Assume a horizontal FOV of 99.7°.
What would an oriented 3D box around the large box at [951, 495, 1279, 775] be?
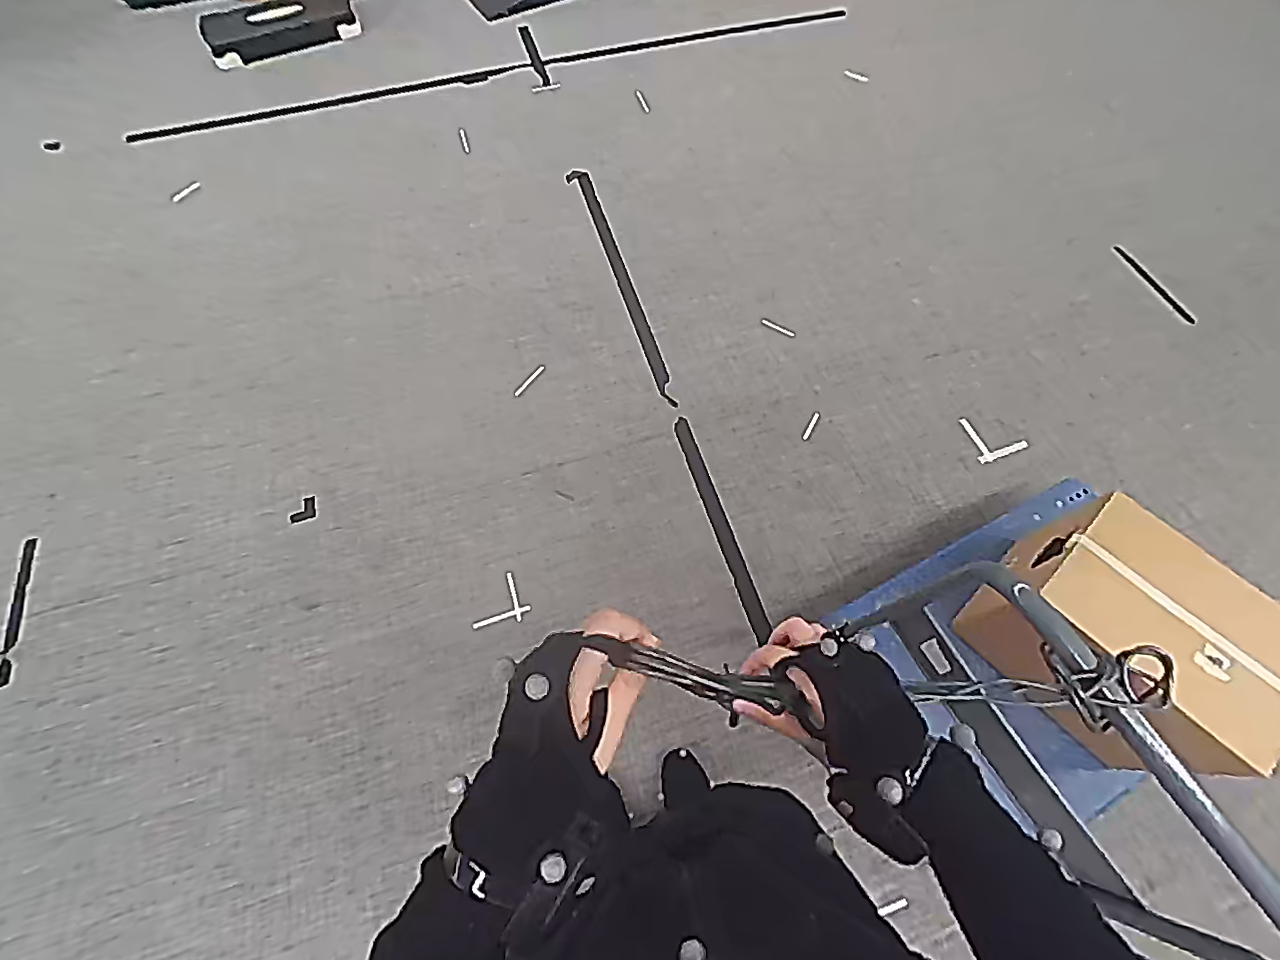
[{"bbox_3d":[0.951,0.310,1.090,0.320,0.320,0.408,-40,72,-18],"label":"large box"}]
